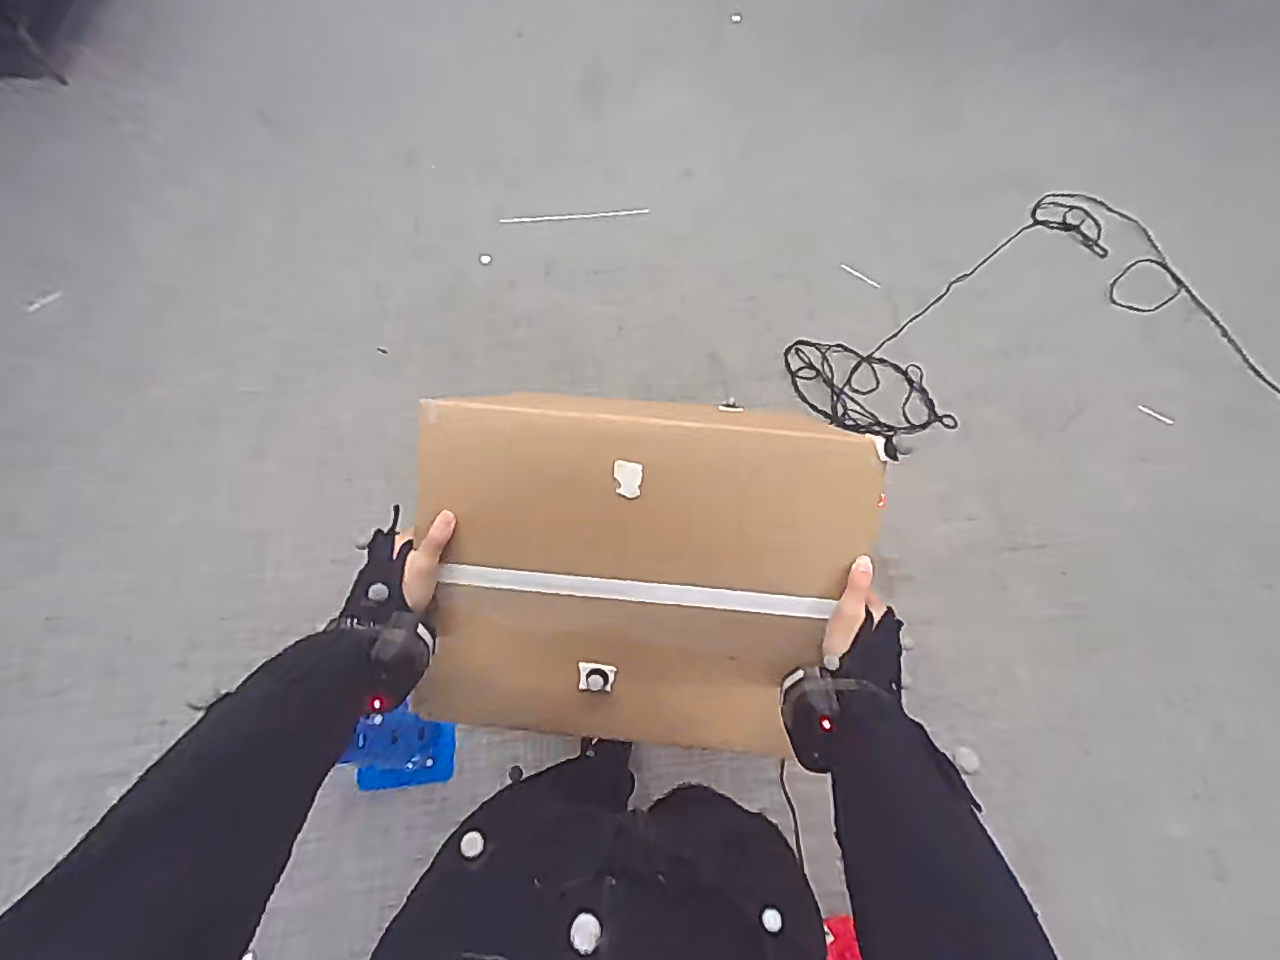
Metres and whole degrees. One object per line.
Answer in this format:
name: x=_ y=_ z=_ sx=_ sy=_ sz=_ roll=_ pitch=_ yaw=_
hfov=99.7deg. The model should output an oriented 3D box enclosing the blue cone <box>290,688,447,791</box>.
blue cone: x=-0.508 y=0.481 z=0.999 sx=0.192 sy=0.380 sz=0.193 roll=-4 pitch=67 yaw=-2
